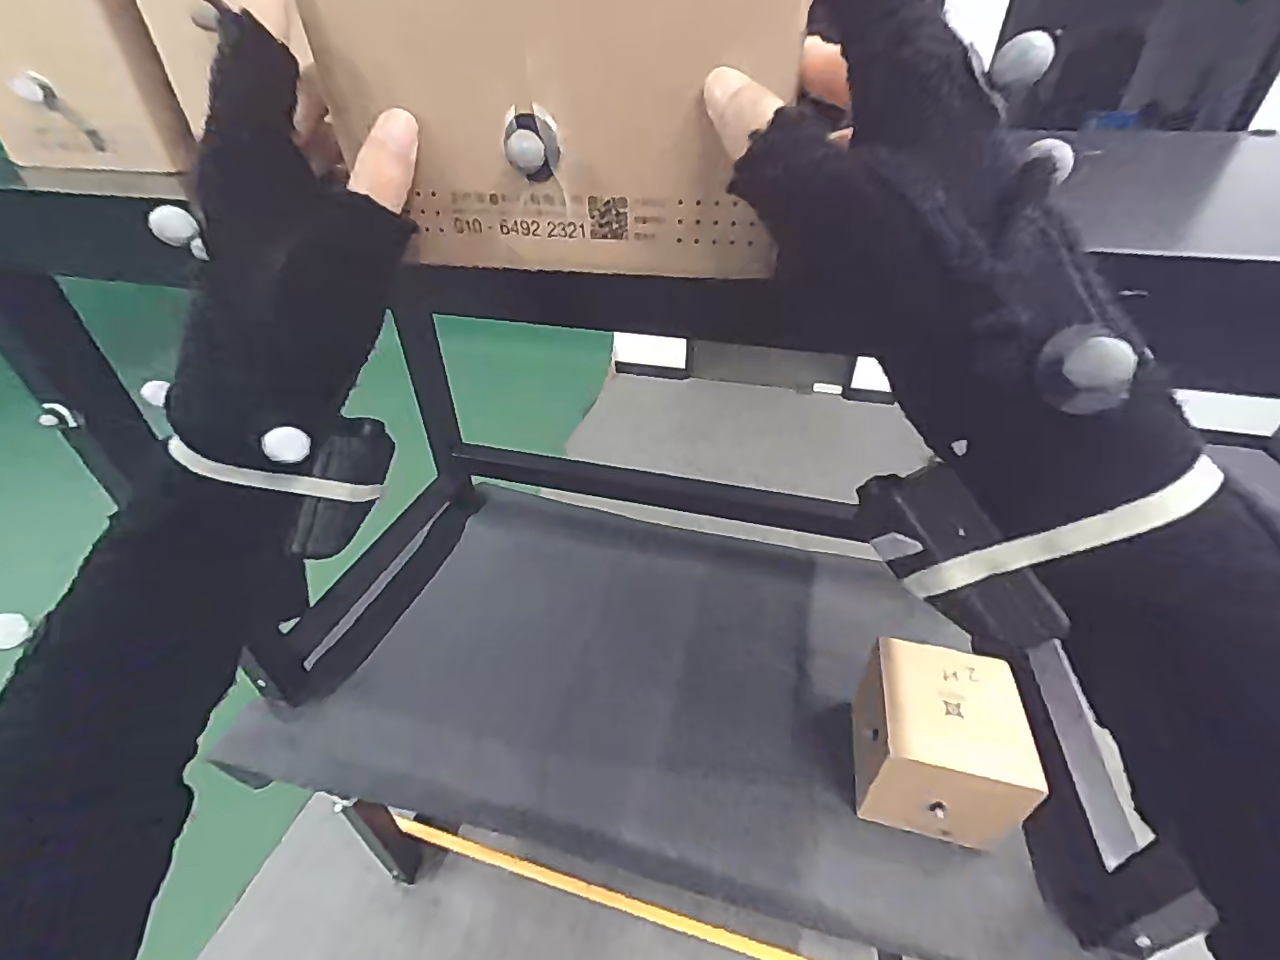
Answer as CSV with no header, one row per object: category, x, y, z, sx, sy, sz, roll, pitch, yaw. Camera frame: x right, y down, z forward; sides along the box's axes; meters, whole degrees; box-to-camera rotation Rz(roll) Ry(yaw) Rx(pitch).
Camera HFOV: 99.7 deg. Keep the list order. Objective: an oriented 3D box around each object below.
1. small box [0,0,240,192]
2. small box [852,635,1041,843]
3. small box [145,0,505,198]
small box,-0.408,-0.351,0.449,0.168,0.176,0.179,8,39,12
small box,0.389,0.344,0.723,0.168,0.176,0.179,9,37,13
small box,-0.218,-0.319,0.408,0.168,0.176,0.179,9,37,13
